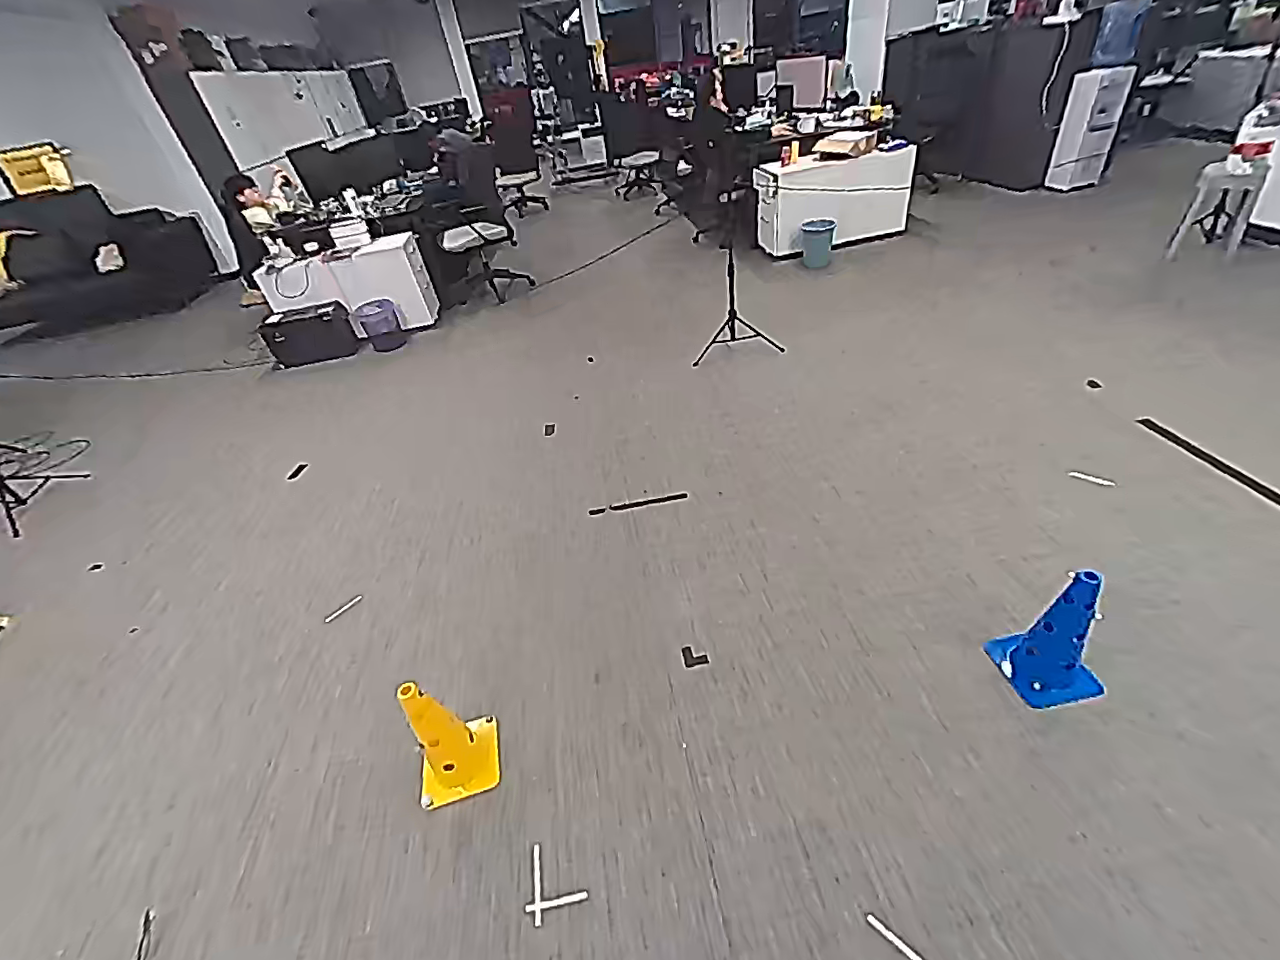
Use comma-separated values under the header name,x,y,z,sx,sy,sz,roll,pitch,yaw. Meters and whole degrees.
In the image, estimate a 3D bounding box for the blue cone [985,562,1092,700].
name,x,y,z,sx,sy,sz,roll,pitch,yaw
blue cone,1.014,0.350,1.315,0.193,0.380,0.192,-11,37,-1
